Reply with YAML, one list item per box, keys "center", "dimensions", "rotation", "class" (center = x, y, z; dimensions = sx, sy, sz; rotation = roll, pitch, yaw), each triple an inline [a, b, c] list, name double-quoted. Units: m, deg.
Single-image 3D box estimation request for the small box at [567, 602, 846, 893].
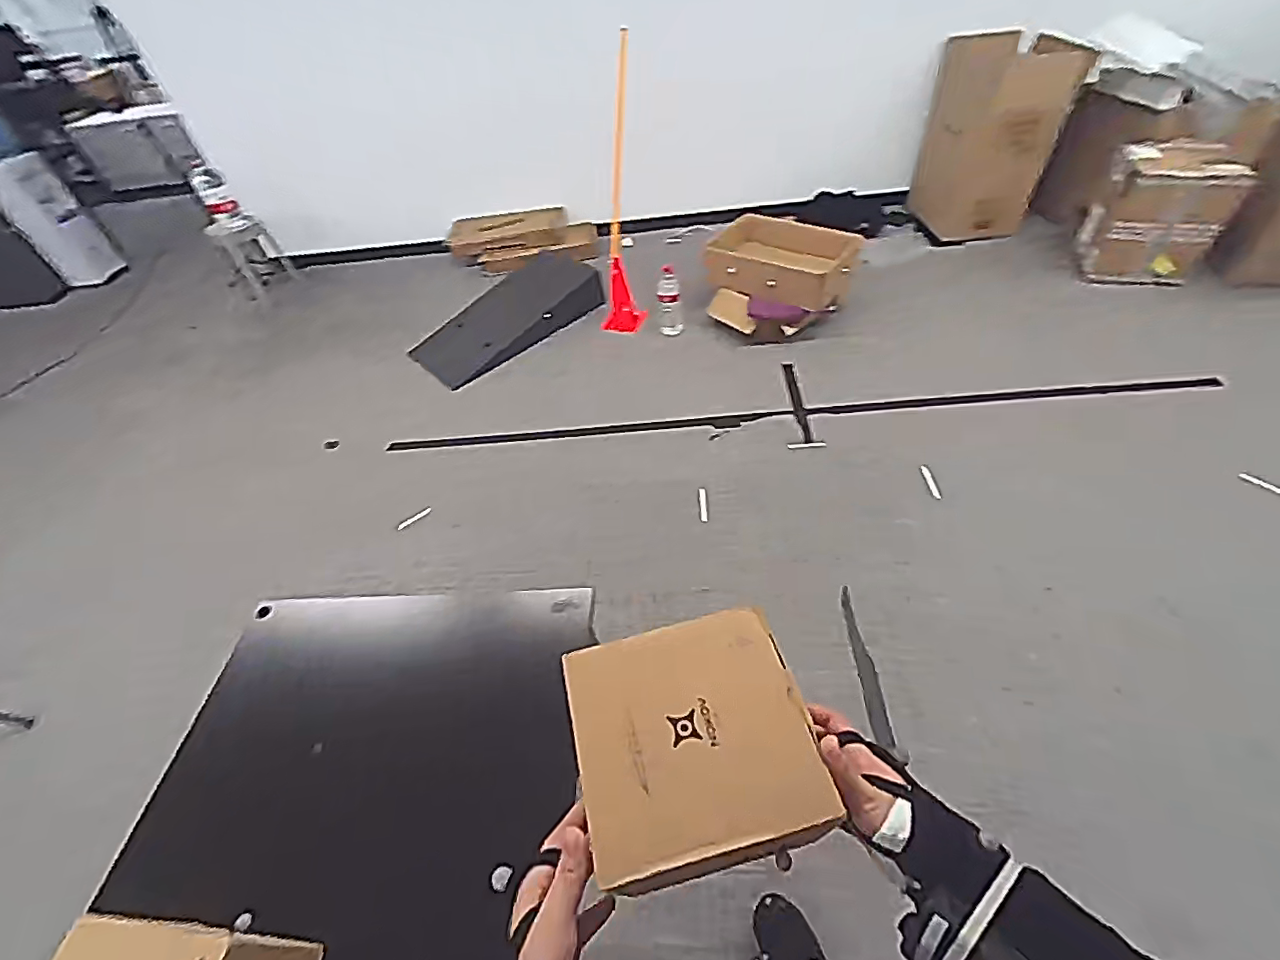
- center: [0.049, 0.235, 0.471]
  dimensions: [0.179, 0.176, 0.168]
  rotation: [-16, 49, -3]
  class: "small box"
